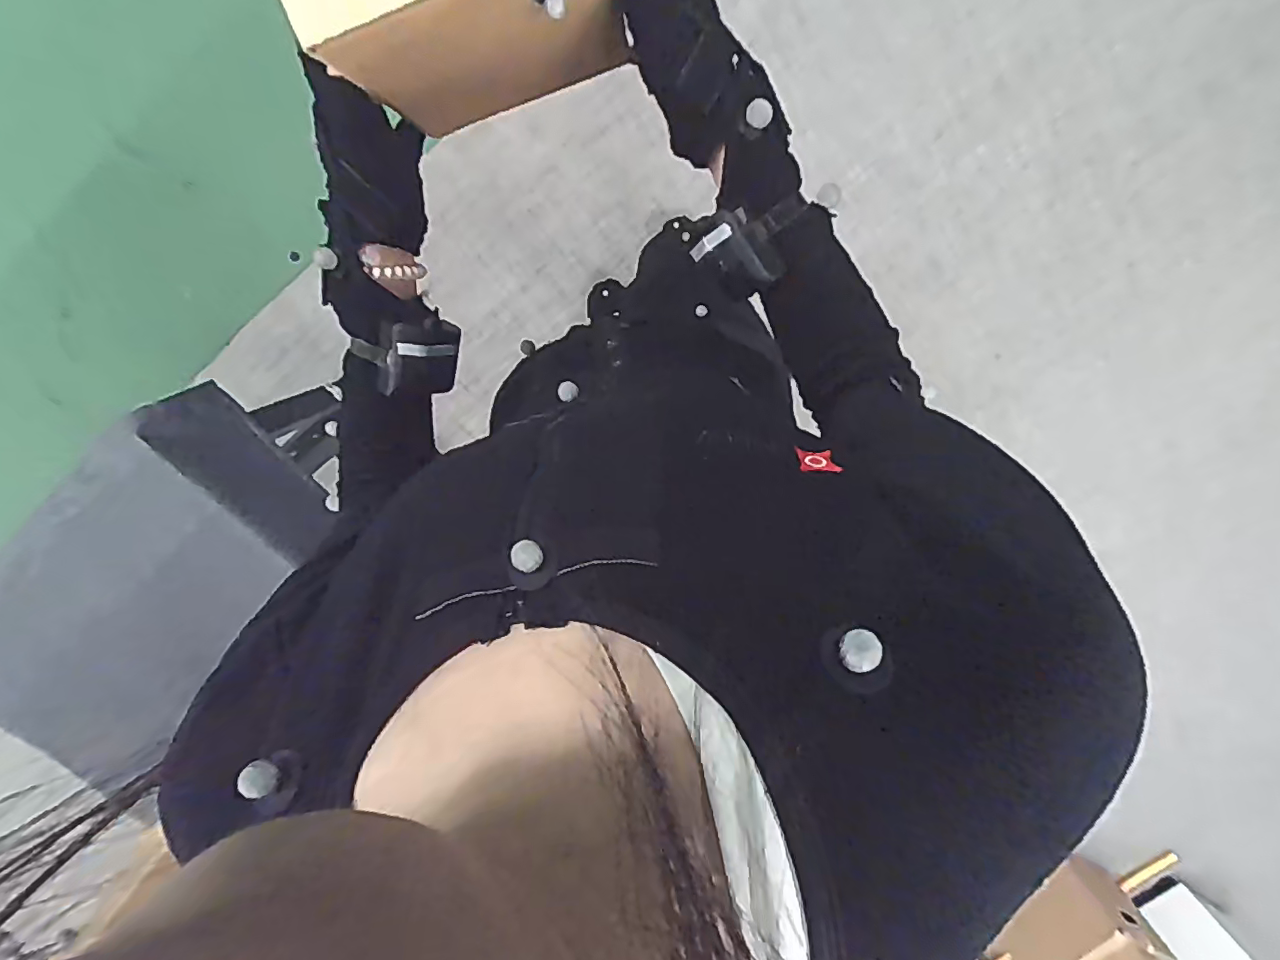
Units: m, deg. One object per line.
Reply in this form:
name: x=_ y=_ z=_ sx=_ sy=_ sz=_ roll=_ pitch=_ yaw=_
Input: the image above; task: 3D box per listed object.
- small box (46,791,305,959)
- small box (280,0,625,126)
small box: x=-0.585 y=0.553 z=0.699 sx=0.179 sy=0.176 sz=0.168 roll=-39 pitch=107 yaw=13
small box: x=-0.118 y=-0.351 z=0.327 sx=0.179 sy=0.176 sz=0.168 roll=-17 pitch=107 yaw=7
